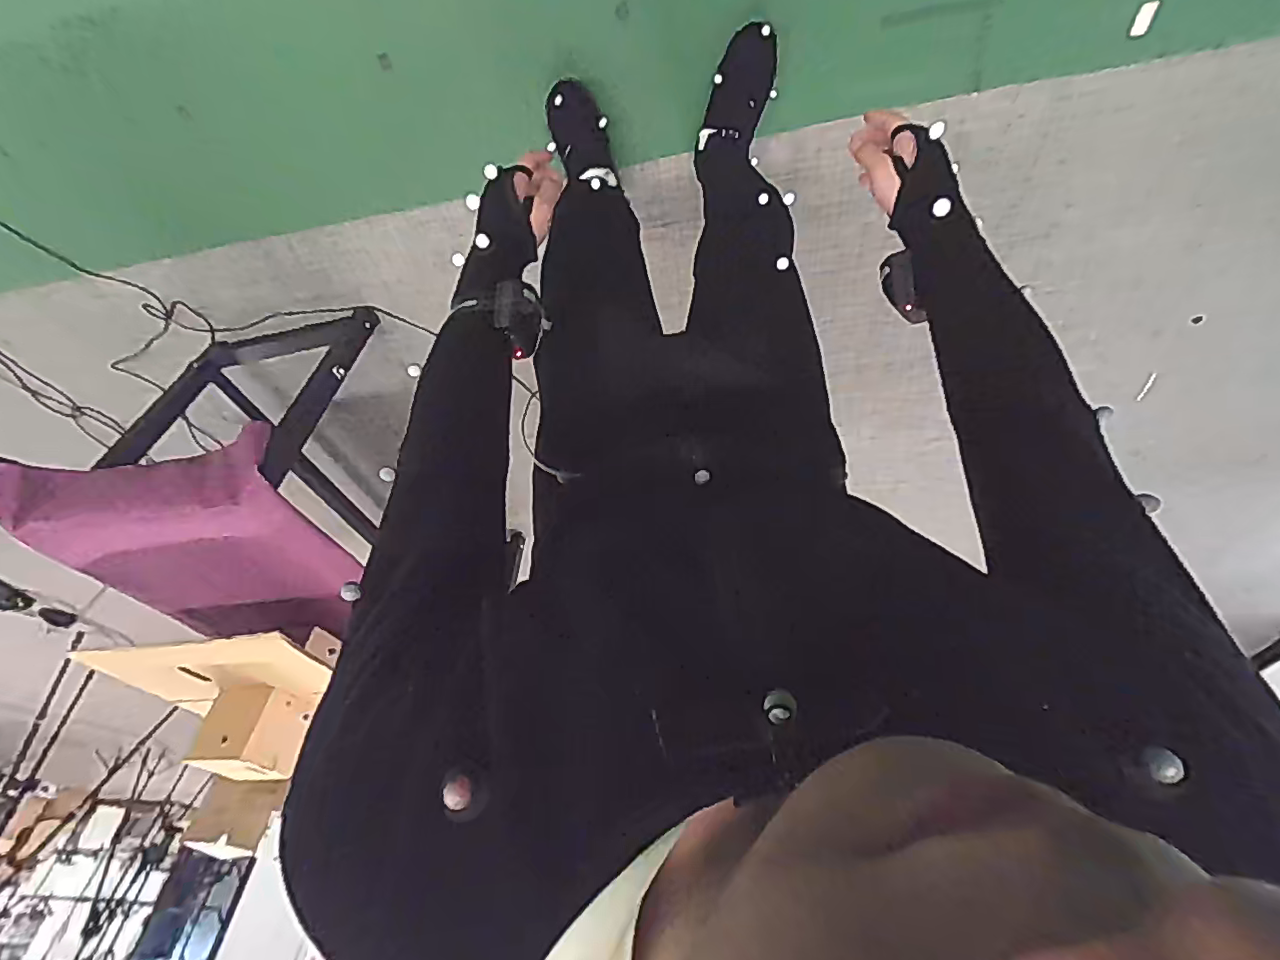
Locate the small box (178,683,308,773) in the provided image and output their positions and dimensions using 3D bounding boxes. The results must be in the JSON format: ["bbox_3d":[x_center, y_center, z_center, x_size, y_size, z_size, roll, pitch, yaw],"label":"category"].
[{"bbox_3d":[-0.967,0.614,1.344,0.179,0.176,0.168,-7,137,13],"label":"small box"}]
